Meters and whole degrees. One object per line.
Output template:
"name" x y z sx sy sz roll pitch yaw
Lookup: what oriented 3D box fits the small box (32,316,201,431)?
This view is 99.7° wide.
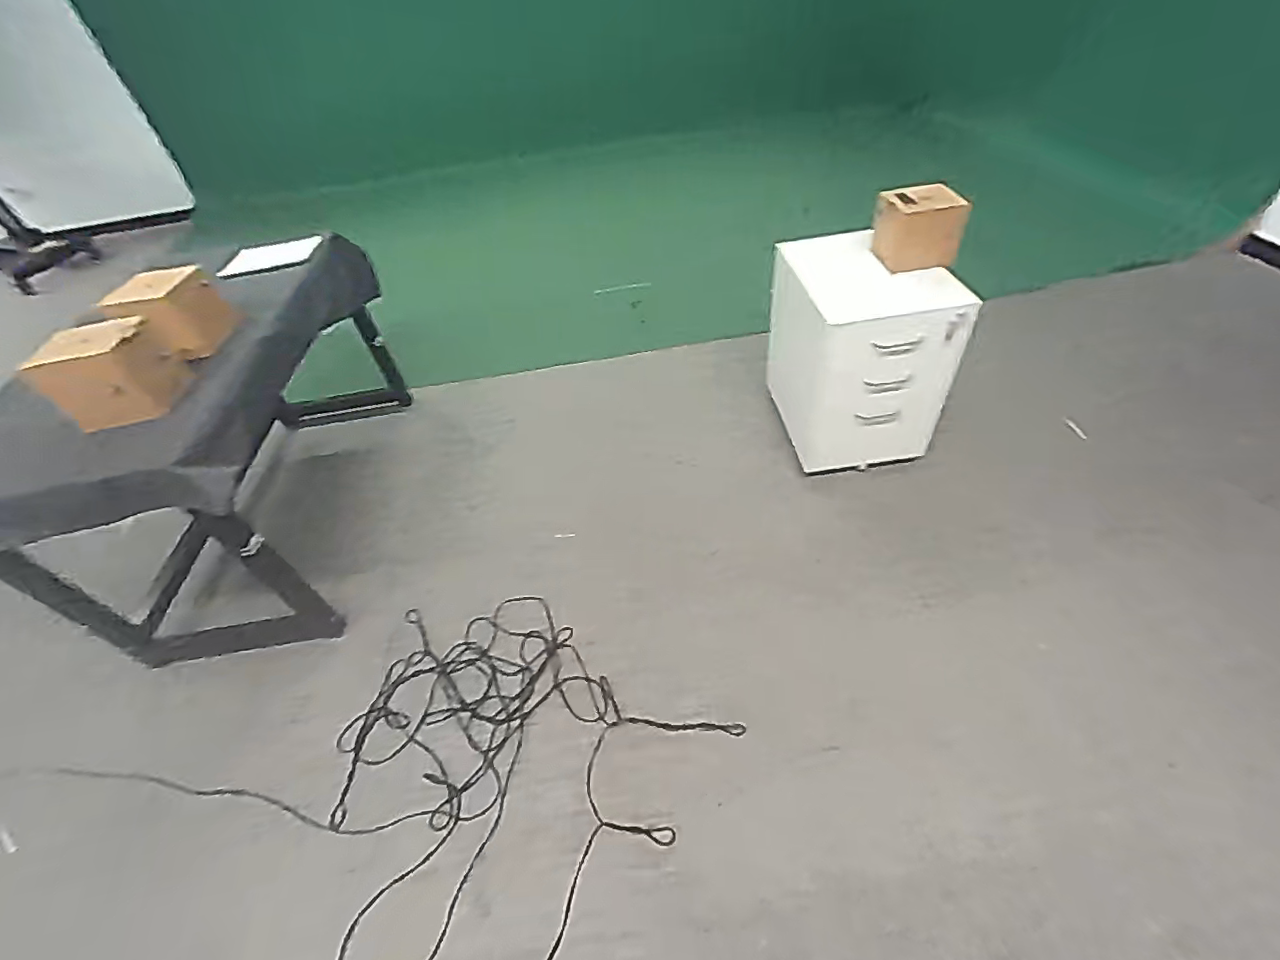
"small box" -1.133 -0.232 1.192 0.179 0.176 0.168 -14 44 -2

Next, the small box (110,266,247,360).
"small box" -1.154 -0.416 1.374 0.168 0.176 0.179 -7 45 3
